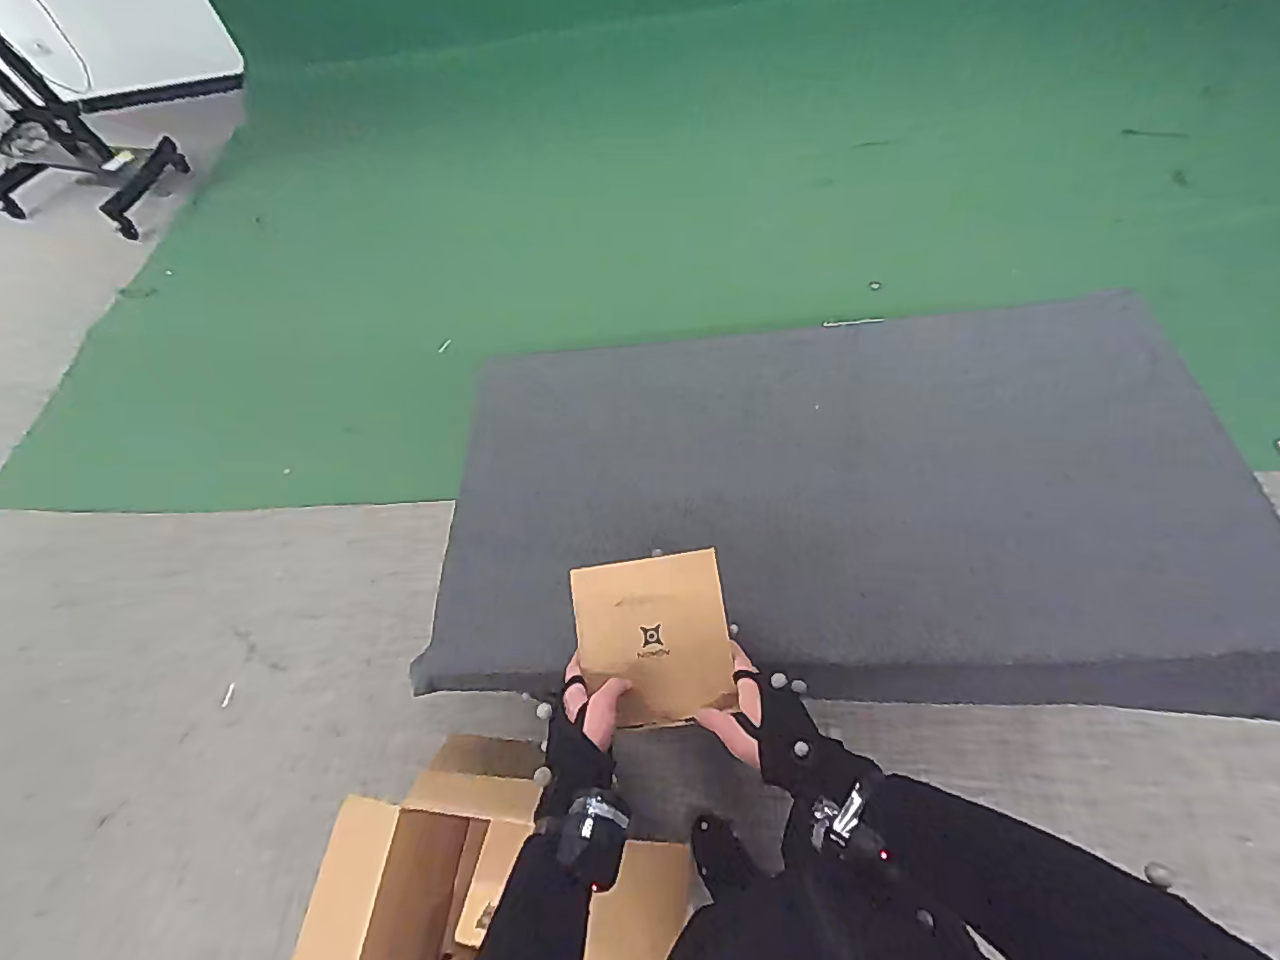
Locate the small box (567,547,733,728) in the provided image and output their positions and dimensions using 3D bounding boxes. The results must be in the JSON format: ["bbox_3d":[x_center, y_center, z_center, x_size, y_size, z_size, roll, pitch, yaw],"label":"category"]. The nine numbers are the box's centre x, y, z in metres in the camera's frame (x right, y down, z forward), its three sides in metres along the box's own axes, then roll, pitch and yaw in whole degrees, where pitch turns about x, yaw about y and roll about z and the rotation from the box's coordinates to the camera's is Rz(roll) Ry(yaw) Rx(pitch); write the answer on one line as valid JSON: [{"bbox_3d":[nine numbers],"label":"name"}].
[{"bbox_3d":[0.017,0.184,0.664,0.168,0.176,0.179,-9,77,3],"label":"small box"}]
